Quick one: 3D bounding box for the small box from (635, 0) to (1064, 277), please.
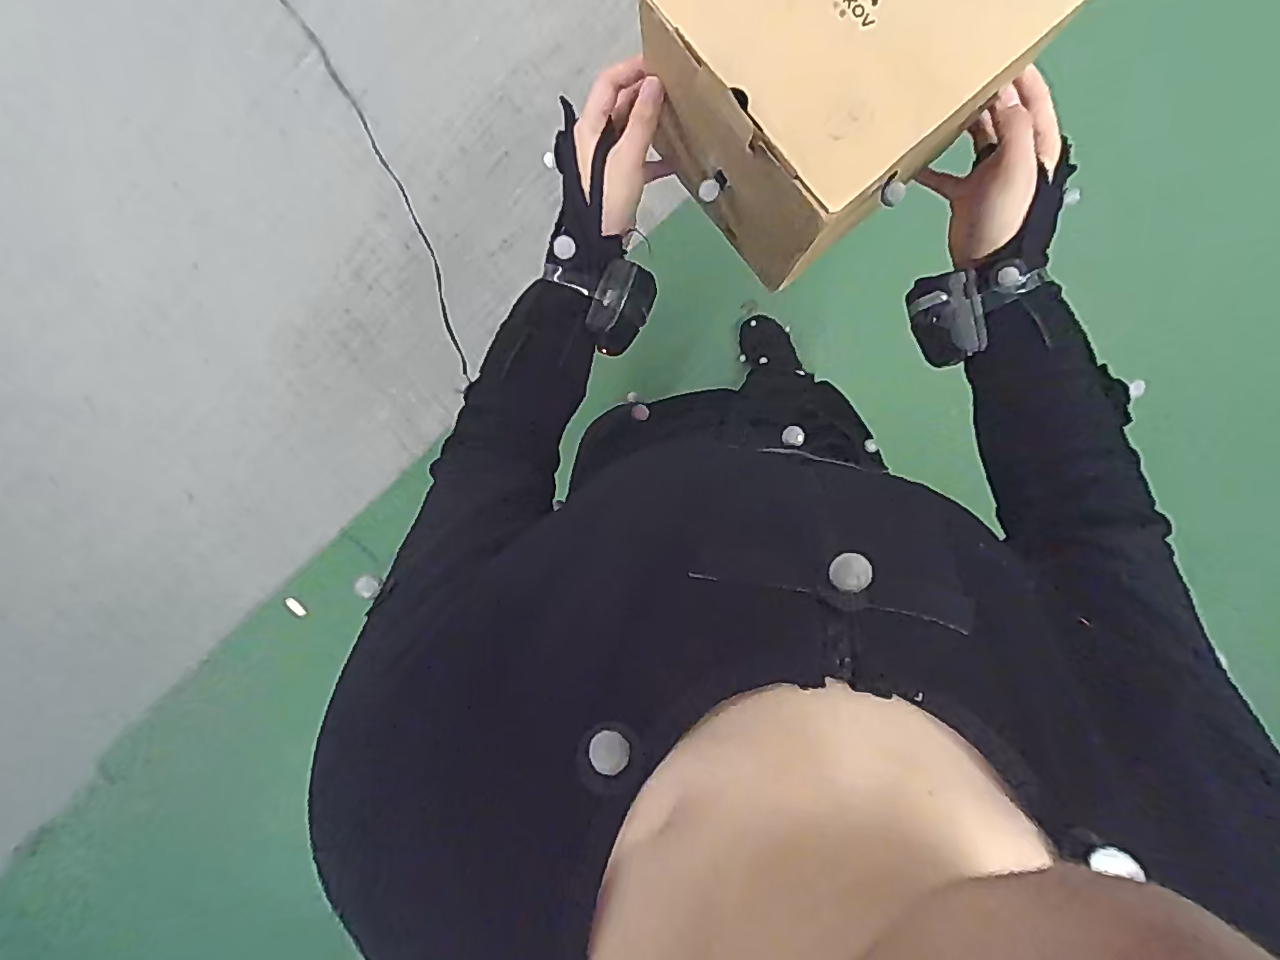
[{"bbox_3d":[0.121,-0.272,0.371,0.179,0.176,0.168,-41,91,8],"label":"small box"}]
